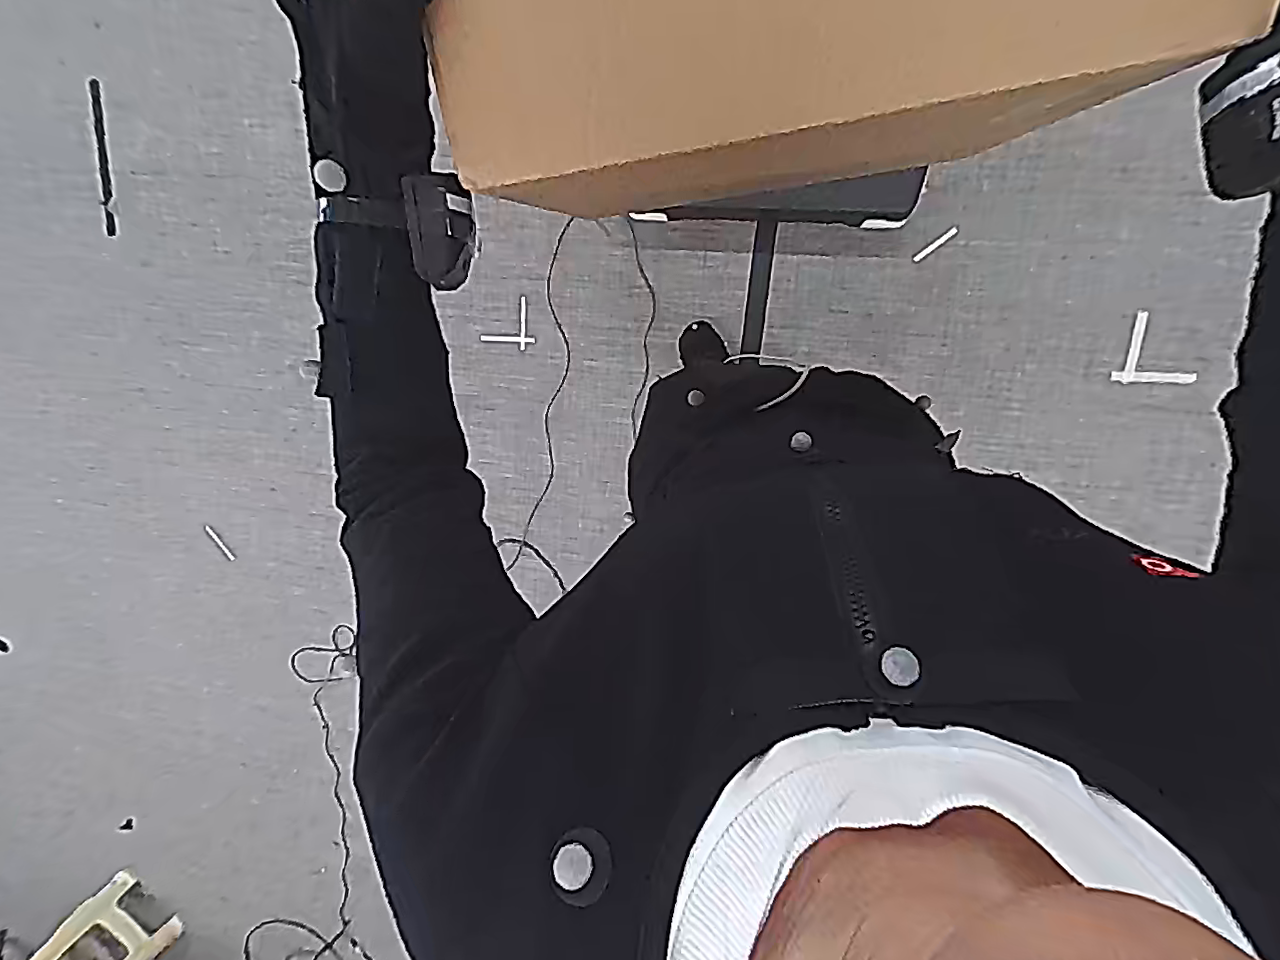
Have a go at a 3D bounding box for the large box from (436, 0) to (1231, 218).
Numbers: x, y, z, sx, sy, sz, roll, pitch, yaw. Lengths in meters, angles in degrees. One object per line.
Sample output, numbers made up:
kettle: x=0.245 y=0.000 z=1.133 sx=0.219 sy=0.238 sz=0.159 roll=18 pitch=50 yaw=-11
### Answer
large box: x=0.087 y=-0.398 z=0.382 sx=0.408 sy=0.320 sz=0.320 roll=-6 pitch=112 yaw=9
